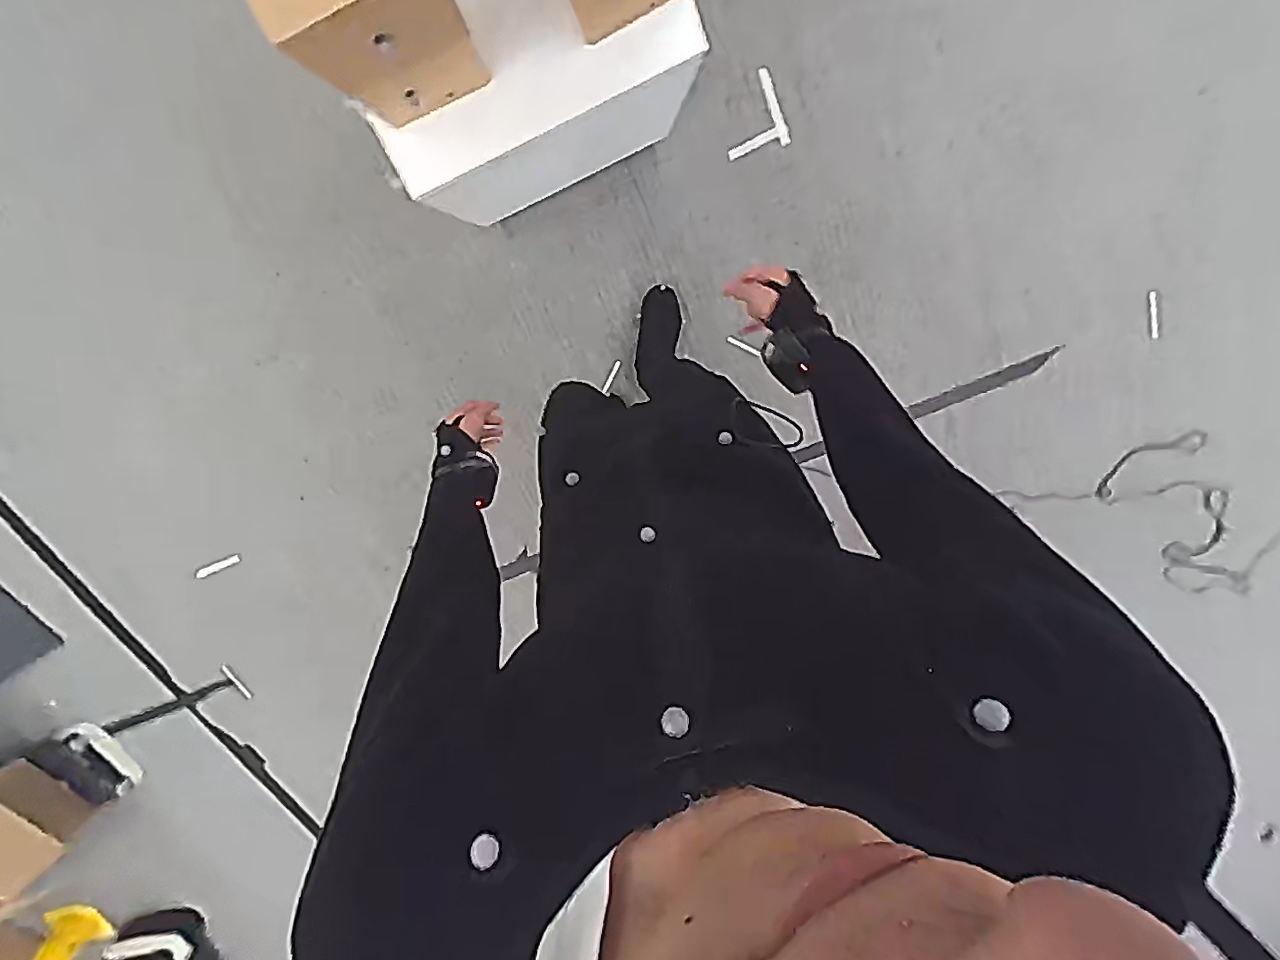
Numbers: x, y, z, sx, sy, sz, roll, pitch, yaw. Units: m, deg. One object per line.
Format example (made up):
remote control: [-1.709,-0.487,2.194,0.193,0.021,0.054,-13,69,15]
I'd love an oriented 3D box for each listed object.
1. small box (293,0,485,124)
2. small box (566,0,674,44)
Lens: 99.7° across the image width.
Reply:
small box: [-0.326,-0.599,0.708,0.168,0.176,0.179,-23,110,5]
small box: [-0.040,-0.711,0.682,0.168,0.176,0.179,-25,110,7]
